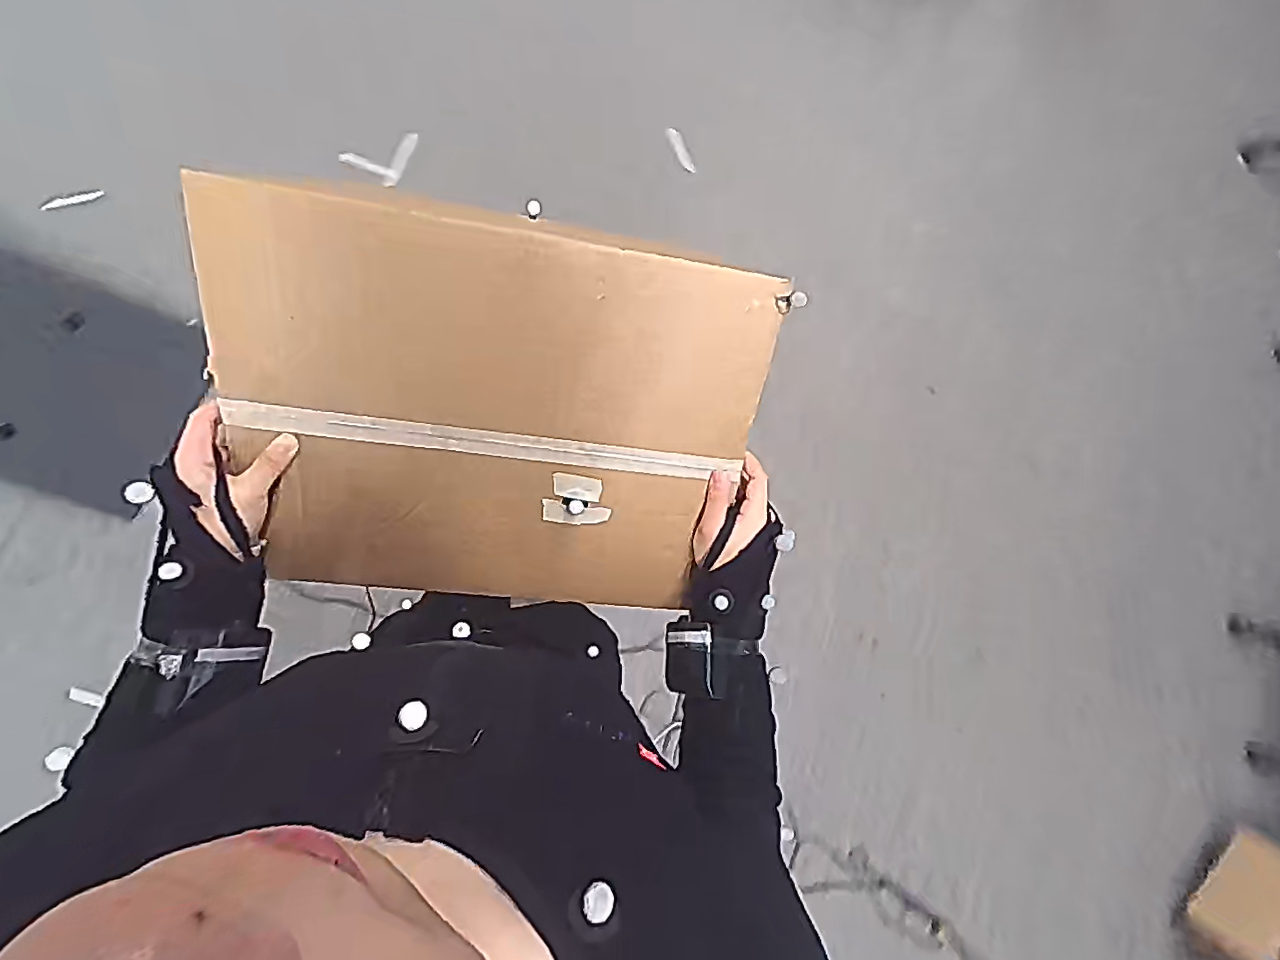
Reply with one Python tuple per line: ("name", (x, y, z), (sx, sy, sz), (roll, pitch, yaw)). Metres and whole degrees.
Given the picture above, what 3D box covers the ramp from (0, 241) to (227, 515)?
("ramp", (-1.557, -0.329, 1.197), (0.991, 0.206, 0.509), (21, 79, -6))
